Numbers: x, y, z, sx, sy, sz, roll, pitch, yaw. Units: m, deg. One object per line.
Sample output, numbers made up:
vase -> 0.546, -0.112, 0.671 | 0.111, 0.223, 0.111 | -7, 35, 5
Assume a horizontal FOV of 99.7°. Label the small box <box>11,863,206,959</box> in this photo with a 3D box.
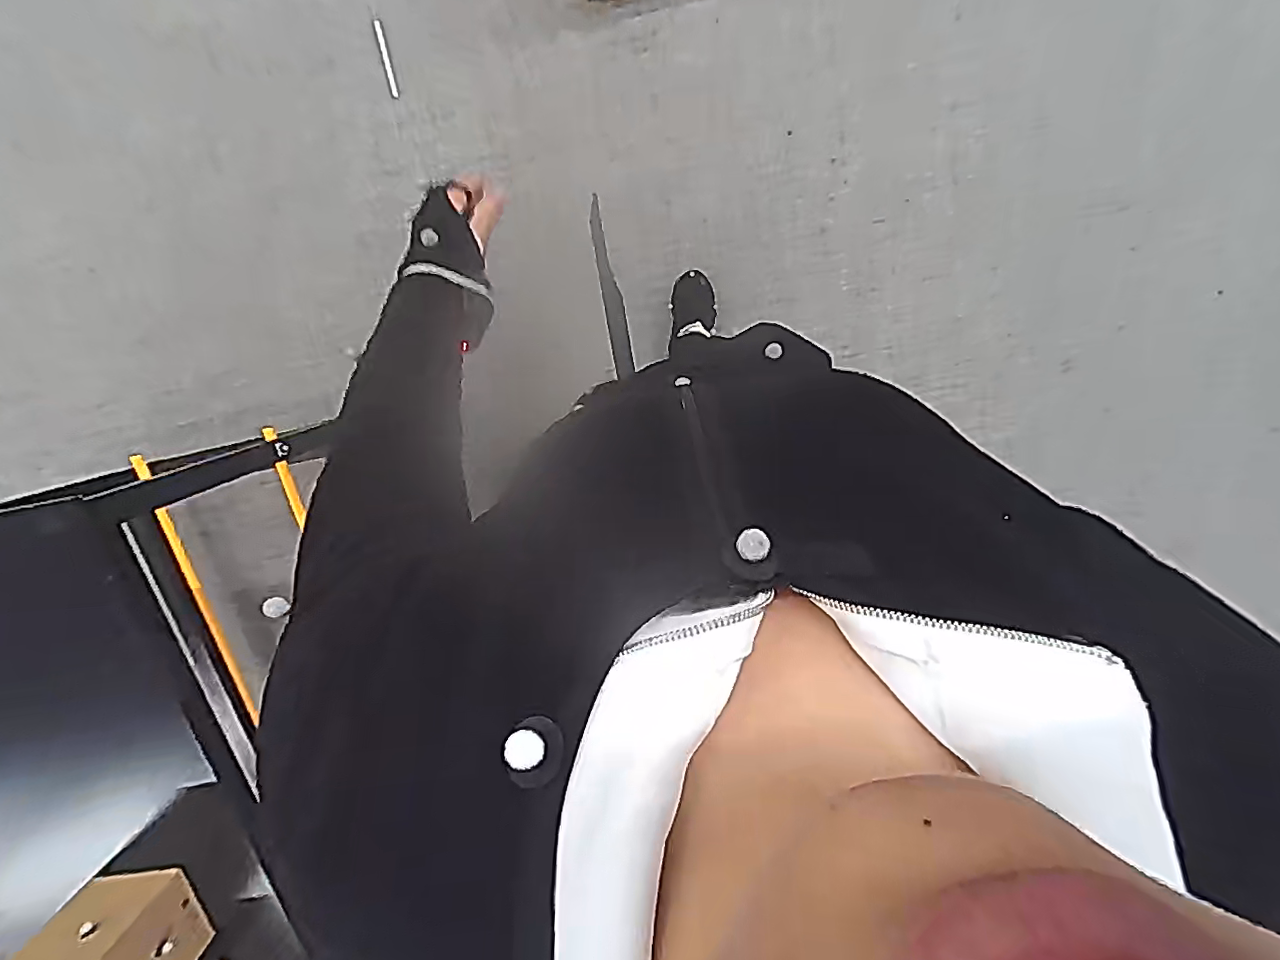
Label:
small box -> -0.882, 0.783, 0.906 | 0.179, 0.176, 0.168 | -9, 106, 3
